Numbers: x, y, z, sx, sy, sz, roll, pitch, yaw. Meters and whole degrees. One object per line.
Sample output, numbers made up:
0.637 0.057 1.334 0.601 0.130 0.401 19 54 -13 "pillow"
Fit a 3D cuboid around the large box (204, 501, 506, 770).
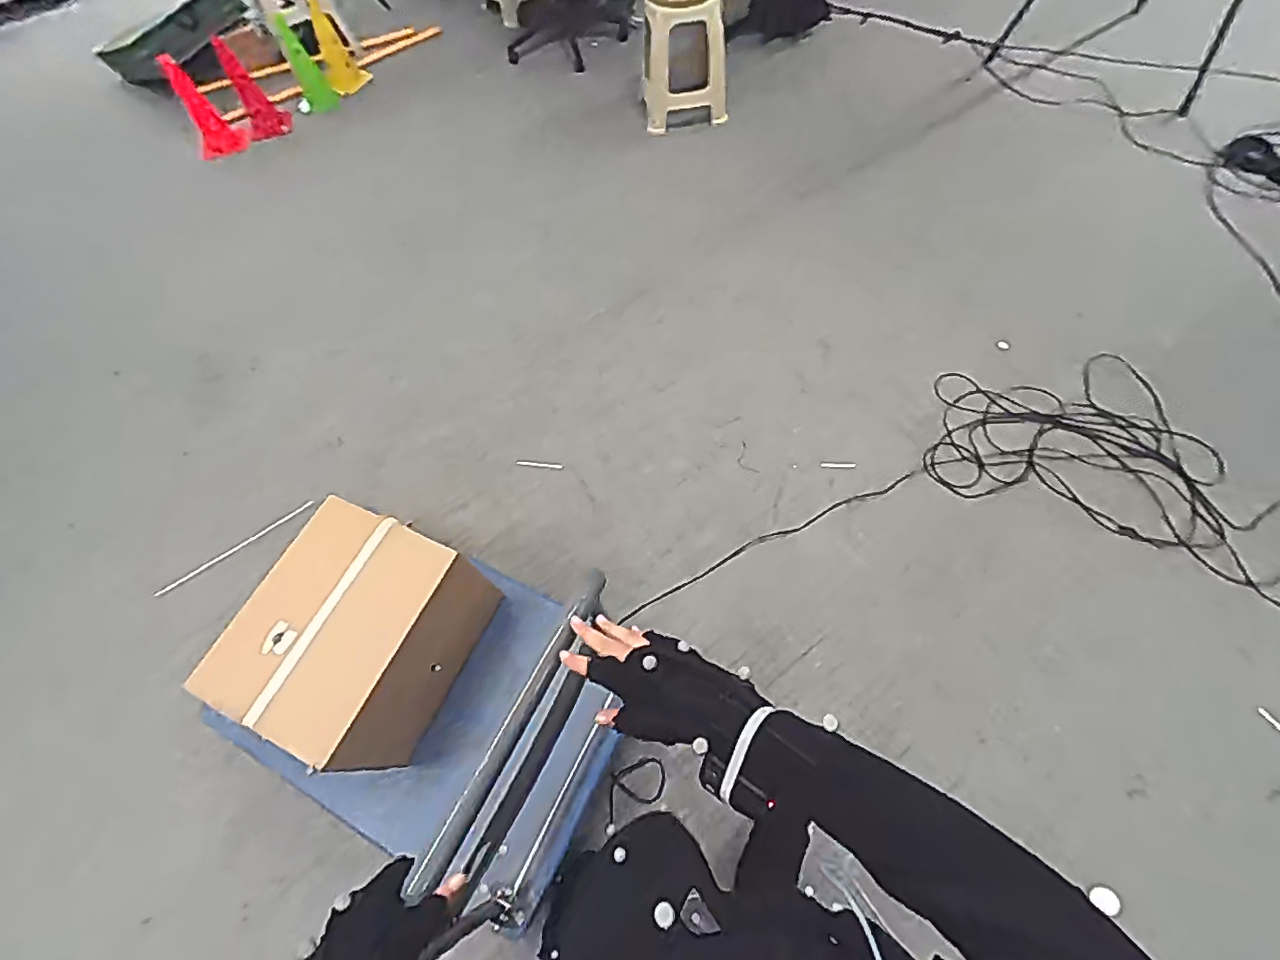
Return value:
-0.539 0.319 1.120 0.320 0.320 0.408 21 67 15 "large box"
